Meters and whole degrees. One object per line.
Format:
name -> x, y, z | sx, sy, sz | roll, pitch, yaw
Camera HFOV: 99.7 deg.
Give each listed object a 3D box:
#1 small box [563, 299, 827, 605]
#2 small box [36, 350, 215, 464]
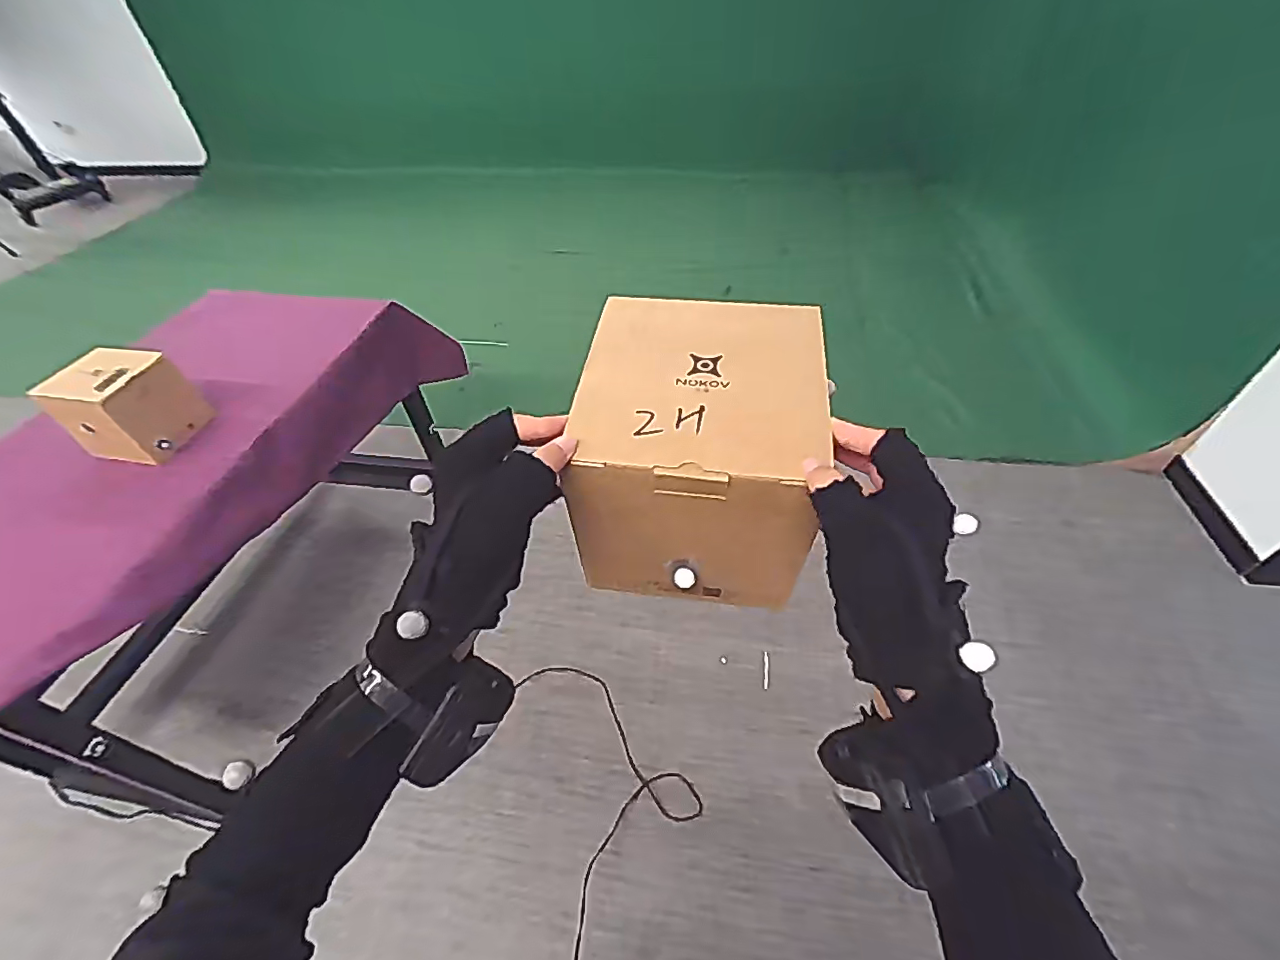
small box -> 0.047, -0.022, 0.441 | 0.168, 0.176, 0.179 | 5, 53, 8
small box -> -1.064, -0.151, 1.140 | 0.179, 0.176, 0.168 | 7, 47, 10
